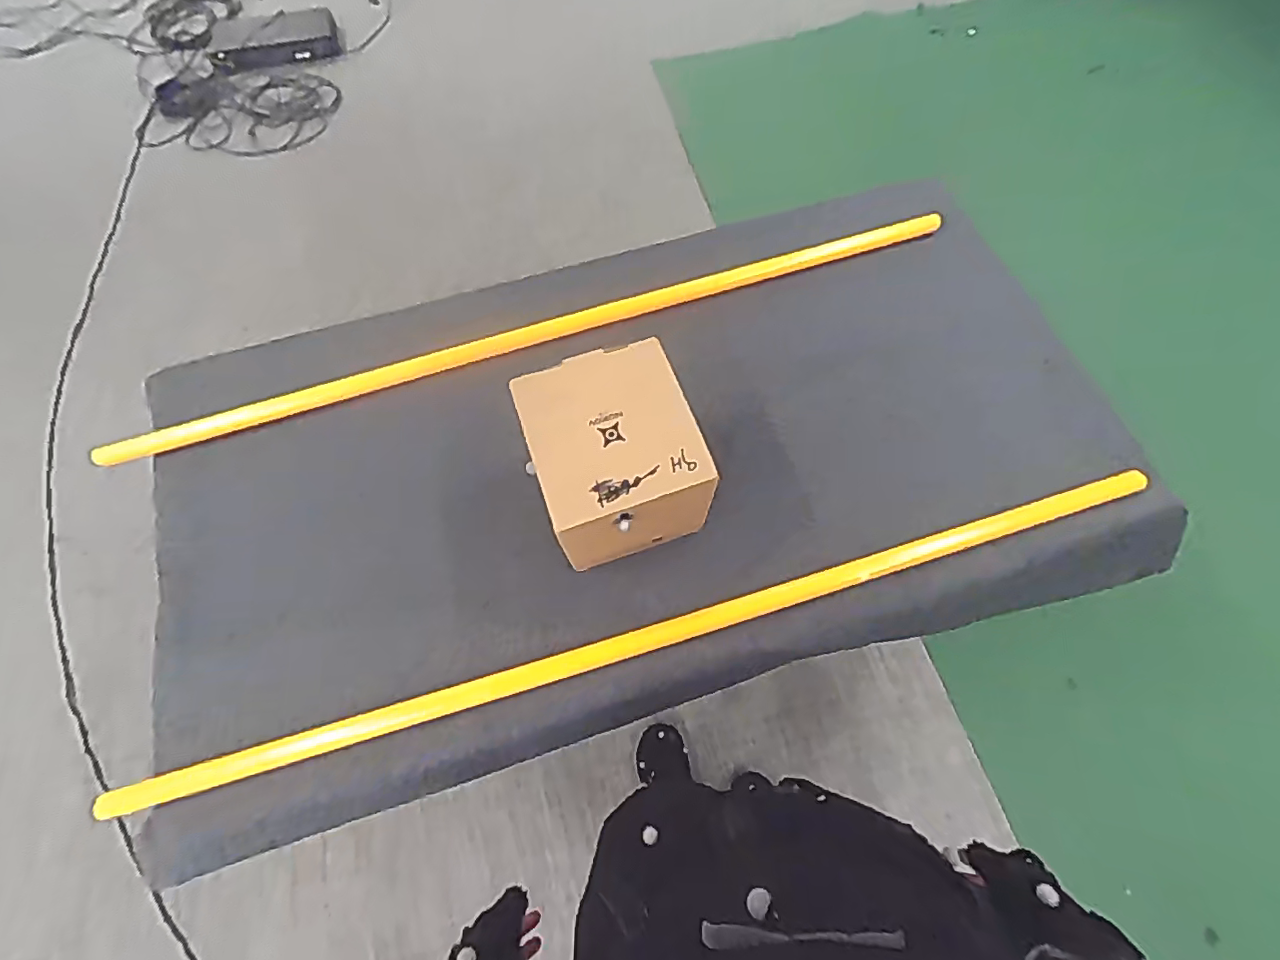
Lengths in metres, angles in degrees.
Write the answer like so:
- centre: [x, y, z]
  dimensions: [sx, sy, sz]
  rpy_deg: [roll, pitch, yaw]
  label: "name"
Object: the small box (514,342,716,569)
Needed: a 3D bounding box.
- centre: [-0.028, -0.020, 0.616]
  dimensions: [0.168, 0.176, 0.179]
  rpy_deg: [-19, 68, -6]
  label: "small box"
